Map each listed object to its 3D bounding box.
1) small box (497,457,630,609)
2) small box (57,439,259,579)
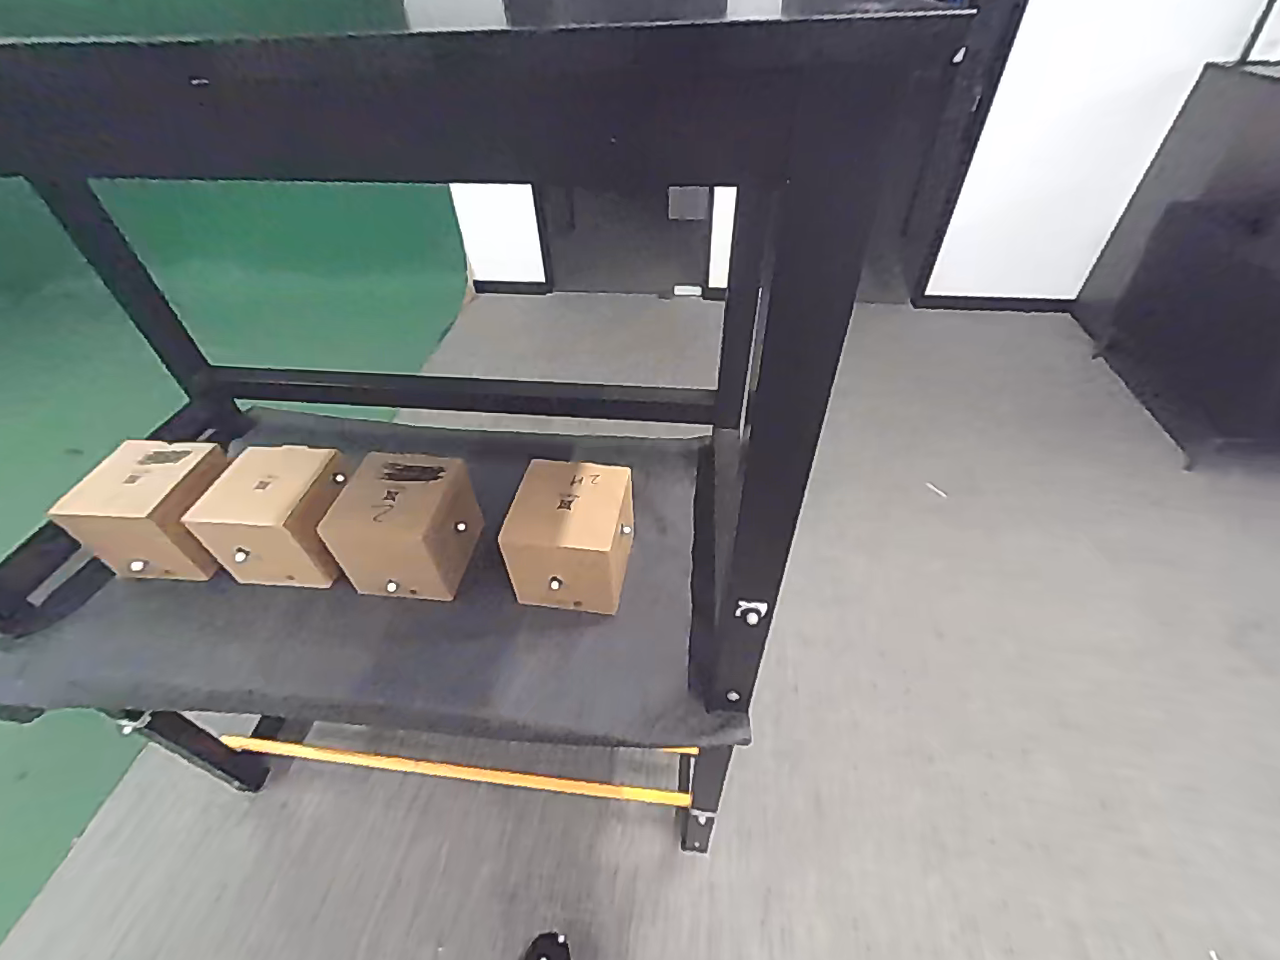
[{"bbox_3d":[-0.110,0.087,0.877,0.168,0.176,0.179,6,45,8],"label":"small box"},{"bbox_3d":[-0.815,0.049,0.944,0.168,0.176,0.179,2,45,4],"label":"small box"}]
